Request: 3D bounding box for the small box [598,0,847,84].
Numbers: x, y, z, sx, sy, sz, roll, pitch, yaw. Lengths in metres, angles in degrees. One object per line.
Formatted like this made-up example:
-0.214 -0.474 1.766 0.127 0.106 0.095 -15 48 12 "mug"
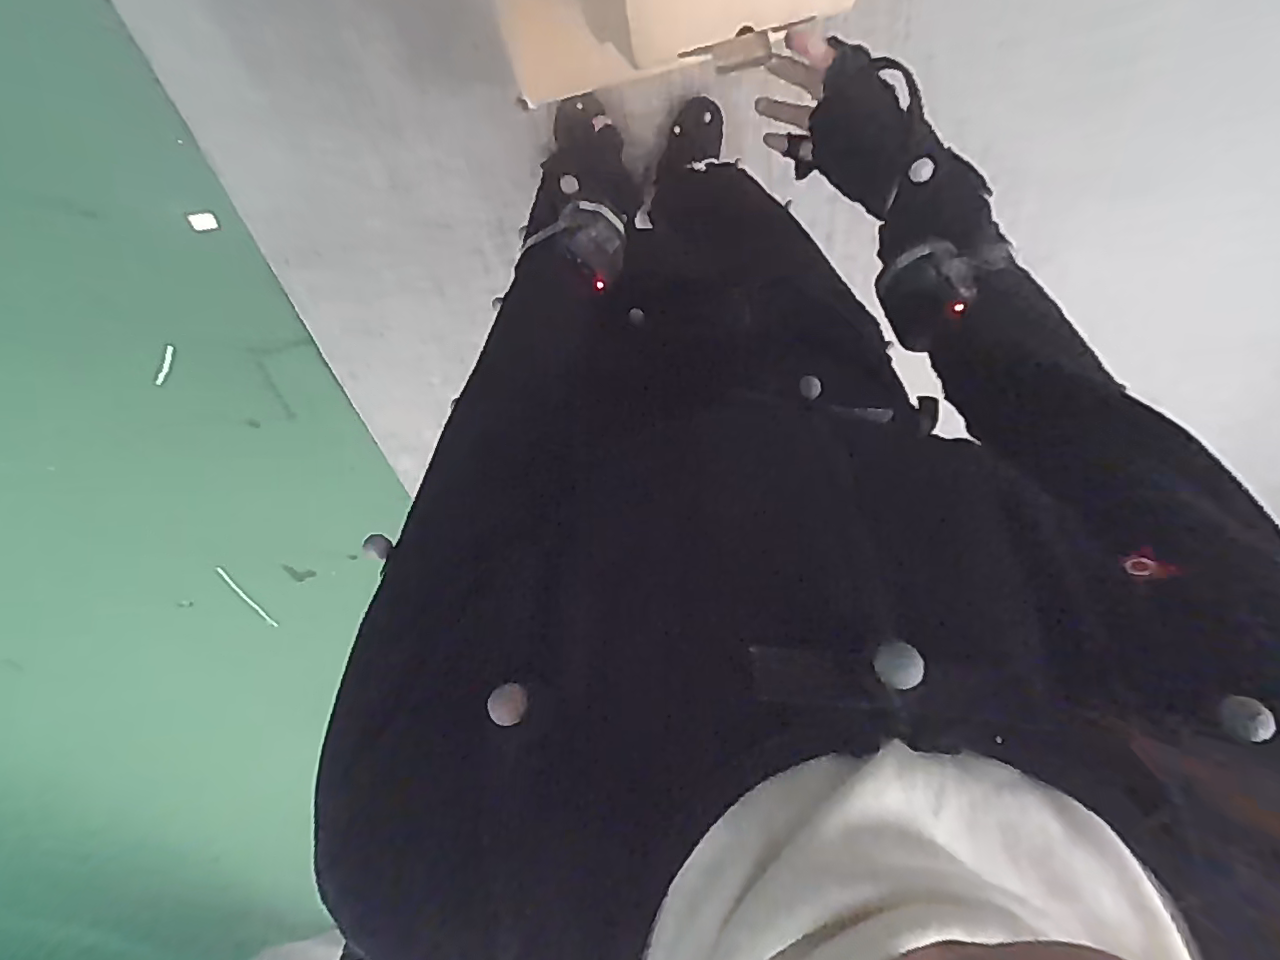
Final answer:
0.045 -0.429 0.395 0.168 0.176 0.179 -15 136 1 "small box"
